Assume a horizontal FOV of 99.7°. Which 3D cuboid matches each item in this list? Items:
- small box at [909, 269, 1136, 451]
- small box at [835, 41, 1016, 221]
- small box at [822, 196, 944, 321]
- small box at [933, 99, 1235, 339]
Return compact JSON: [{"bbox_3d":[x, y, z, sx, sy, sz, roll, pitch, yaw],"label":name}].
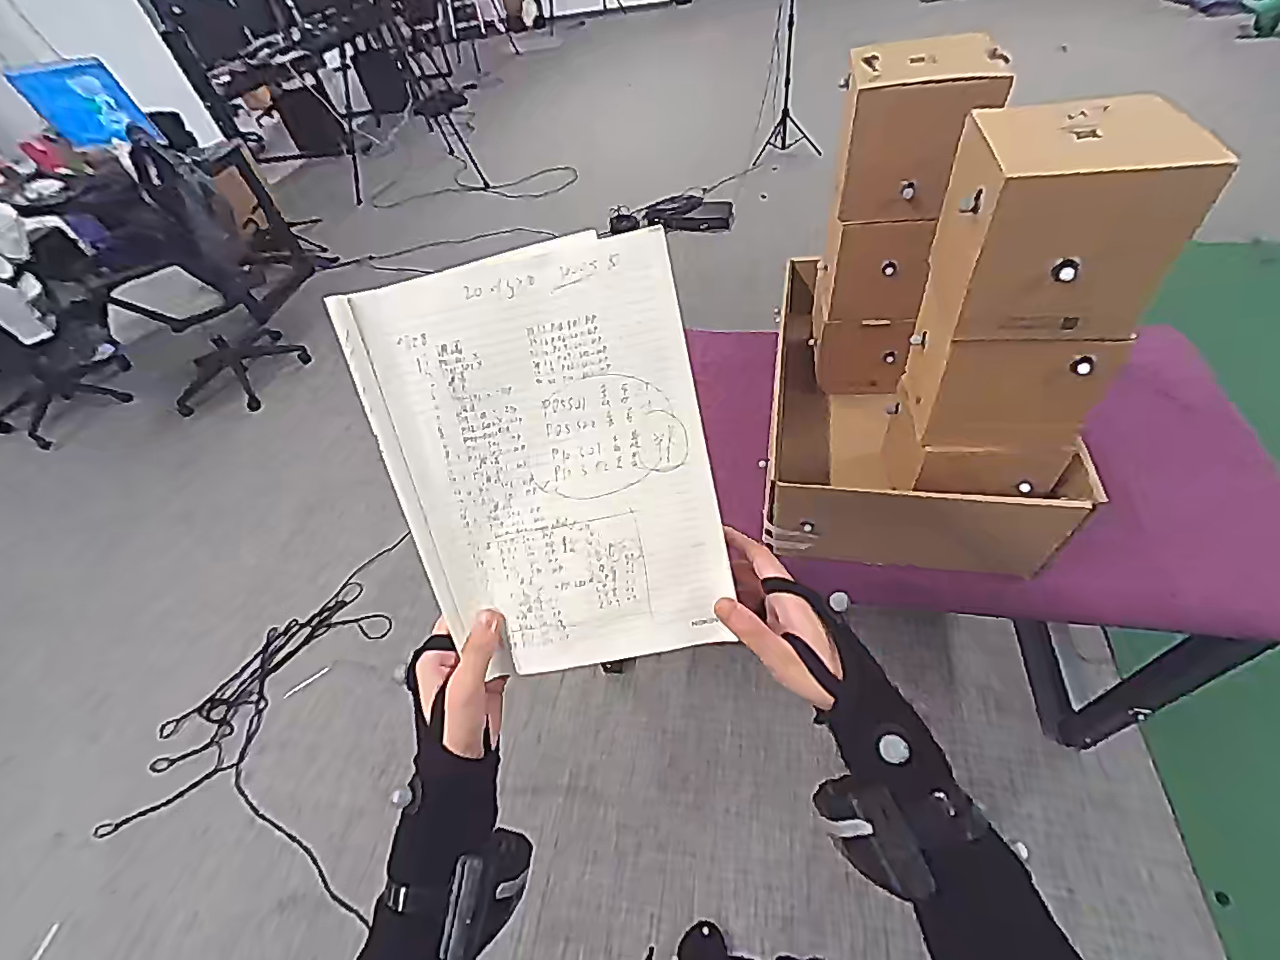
[{"bbox_3d":[0.449,-0.152,0.677,0.179,0.176,0.168,4,49,14],"label":"small box"},{"bbox_3d":[0.380,-0.482,0.757,0.179,0.176,0.168,5,52,12],"label":"small box"},{"bbox_3d":[0.402,-0.375,0.880,0.179,0.176,0.168,2,51,11],"label":"small box"},{"bbox_3d":[0.421,-0.261,0.556,0.168,0.176,0.179,4,49,13],"label":"small box"}]
